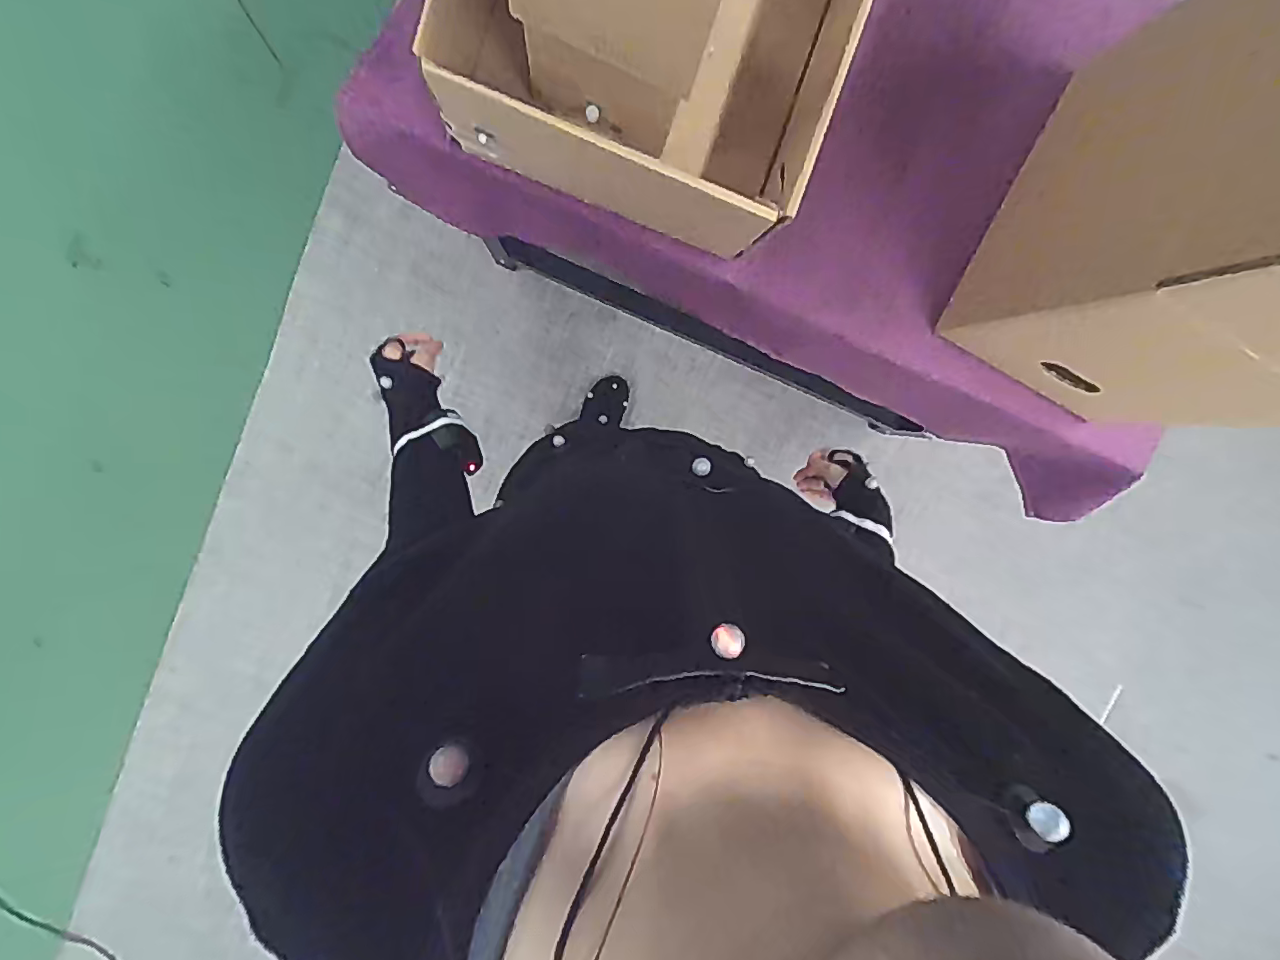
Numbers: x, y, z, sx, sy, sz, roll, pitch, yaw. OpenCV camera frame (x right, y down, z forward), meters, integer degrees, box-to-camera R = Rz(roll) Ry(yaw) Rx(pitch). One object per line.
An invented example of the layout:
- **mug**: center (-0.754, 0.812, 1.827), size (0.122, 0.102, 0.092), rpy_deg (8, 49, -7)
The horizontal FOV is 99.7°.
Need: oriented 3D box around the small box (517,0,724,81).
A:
- **small box**: center (0.000, -0.447, 0.398), size (0.179, 0.176, 0.168), rpy_deg (21, 97, -8)
